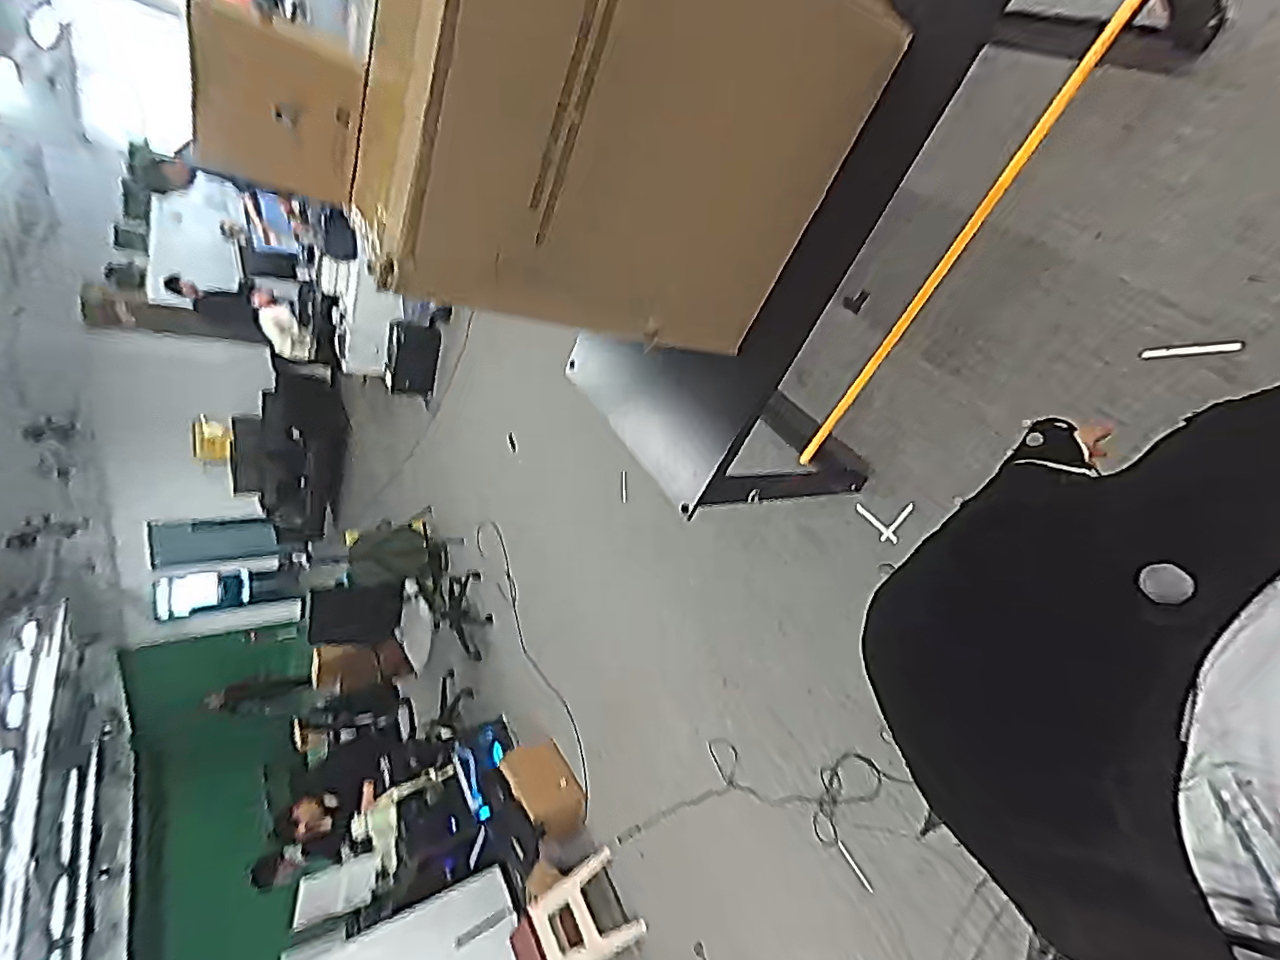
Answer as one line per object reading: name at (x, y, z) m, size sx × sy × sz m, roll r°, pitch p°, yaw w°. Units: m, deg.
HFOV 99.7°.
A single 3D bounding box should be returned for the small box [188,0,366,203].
small box at (-0.462, -0.479, 0.690) m, size 0.179 × 0.176 × 0.168 m, roll 53°, pitch 129°, yaw 36°
